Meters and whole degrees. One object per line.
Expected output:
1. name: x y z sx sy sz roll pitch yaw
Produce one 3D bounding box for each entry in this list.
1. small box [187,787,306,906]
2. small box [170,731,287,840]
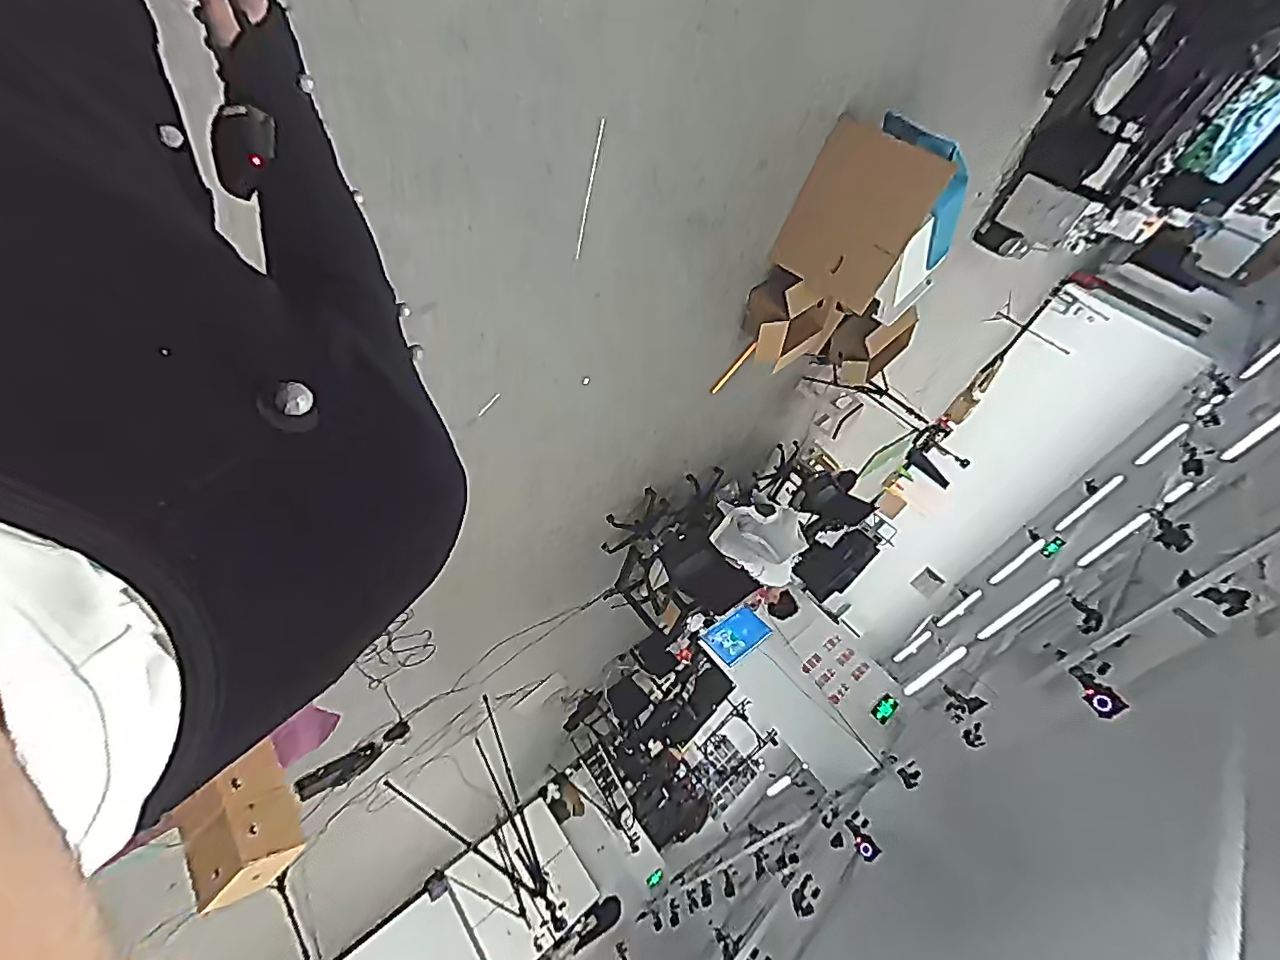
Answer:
1. small box: -1.010 0.919 1.384 0.179 0.176 0.168 -46 154 5
2. small box: -1.108 0.809 1.453 0.168 0.176 0.179 -46 155 6
